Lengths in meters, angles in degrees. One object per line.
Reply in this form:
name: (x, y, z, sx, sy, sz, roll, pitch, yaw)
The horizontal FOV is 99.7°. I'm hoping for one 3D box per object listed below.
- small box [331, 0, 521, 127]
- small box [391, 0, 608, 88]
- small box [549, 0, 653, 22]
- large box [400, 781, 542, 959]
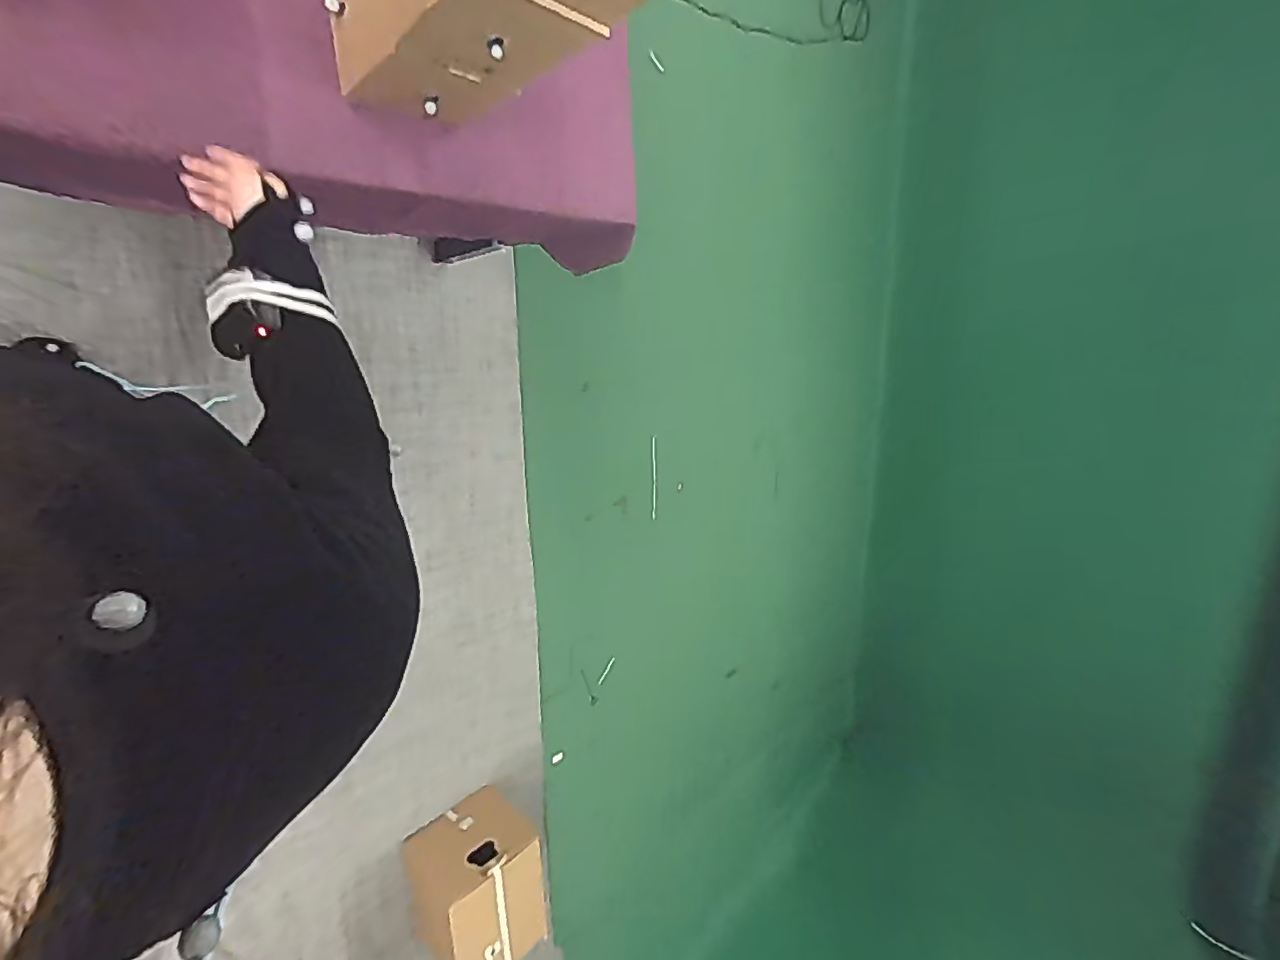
small box: (-0.269, -0.573, 0.675, 0.168, 0.176, 0.179, -16, 111, -45)
small box: (-0.152, -0.549, 0.562, 0.168, 0.176, 0.179, -17, 110, -45)
small box: (-0.036, -0.530, 0.448, 0.179, 0.176, 0.168, -16, 109, -43)
large box: (-0.550, 1.311, 1.775, 0.320, 0.320, 0.408, -16, 111, -45)
